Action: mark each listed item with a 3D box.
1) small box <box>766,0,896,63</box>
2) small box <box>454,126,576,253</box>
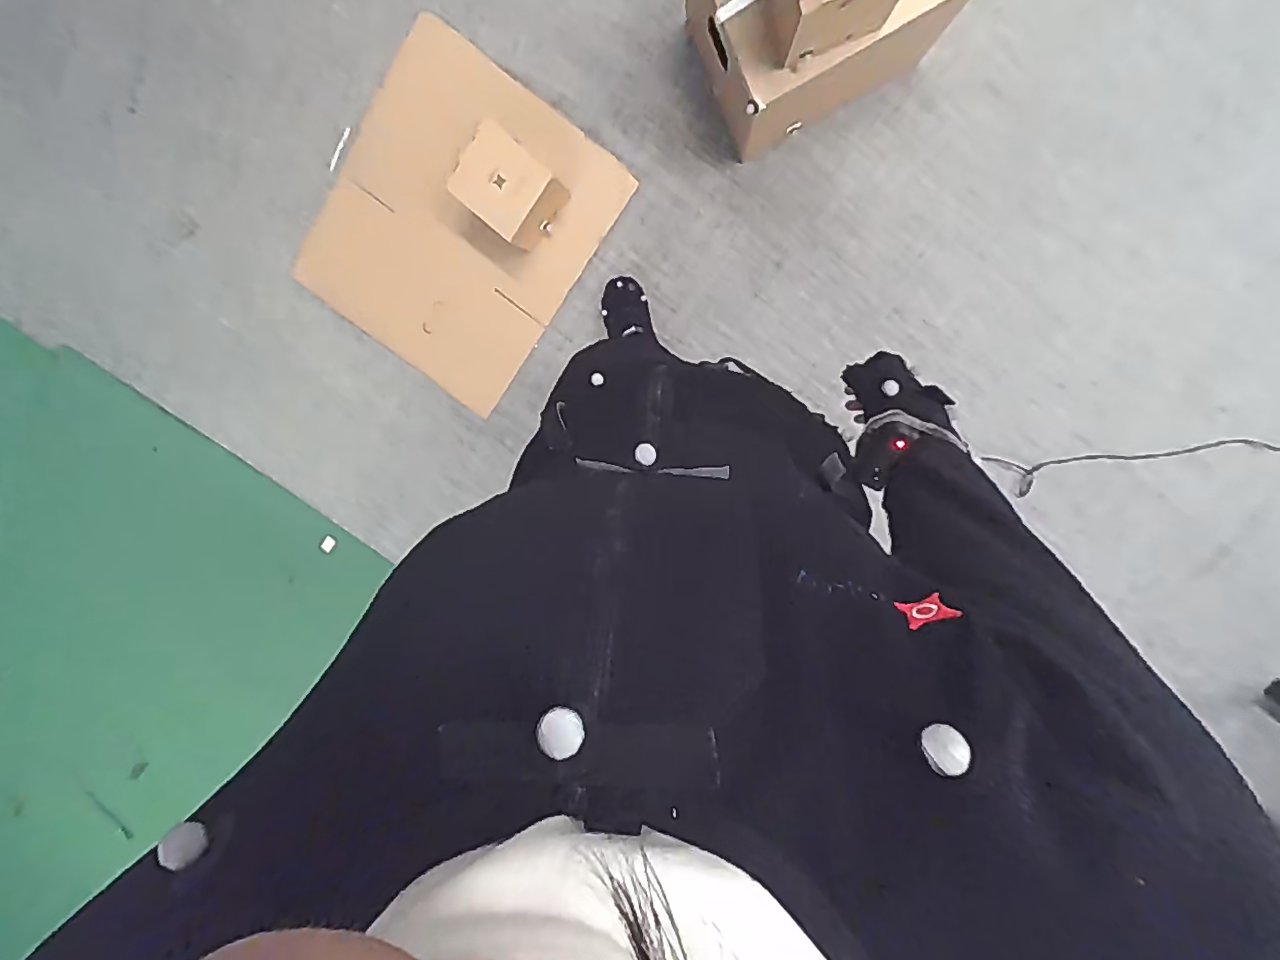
[{"bbox_3d":[0.280,-0.758,0.792,0.168,0.176,0.179,-17,102,11],"label":"small box"},{"bbox_3d":[-0.269,-0.630,1.201,0.179,0.176,0.168,39,107,-4],"label":"small box"}]
